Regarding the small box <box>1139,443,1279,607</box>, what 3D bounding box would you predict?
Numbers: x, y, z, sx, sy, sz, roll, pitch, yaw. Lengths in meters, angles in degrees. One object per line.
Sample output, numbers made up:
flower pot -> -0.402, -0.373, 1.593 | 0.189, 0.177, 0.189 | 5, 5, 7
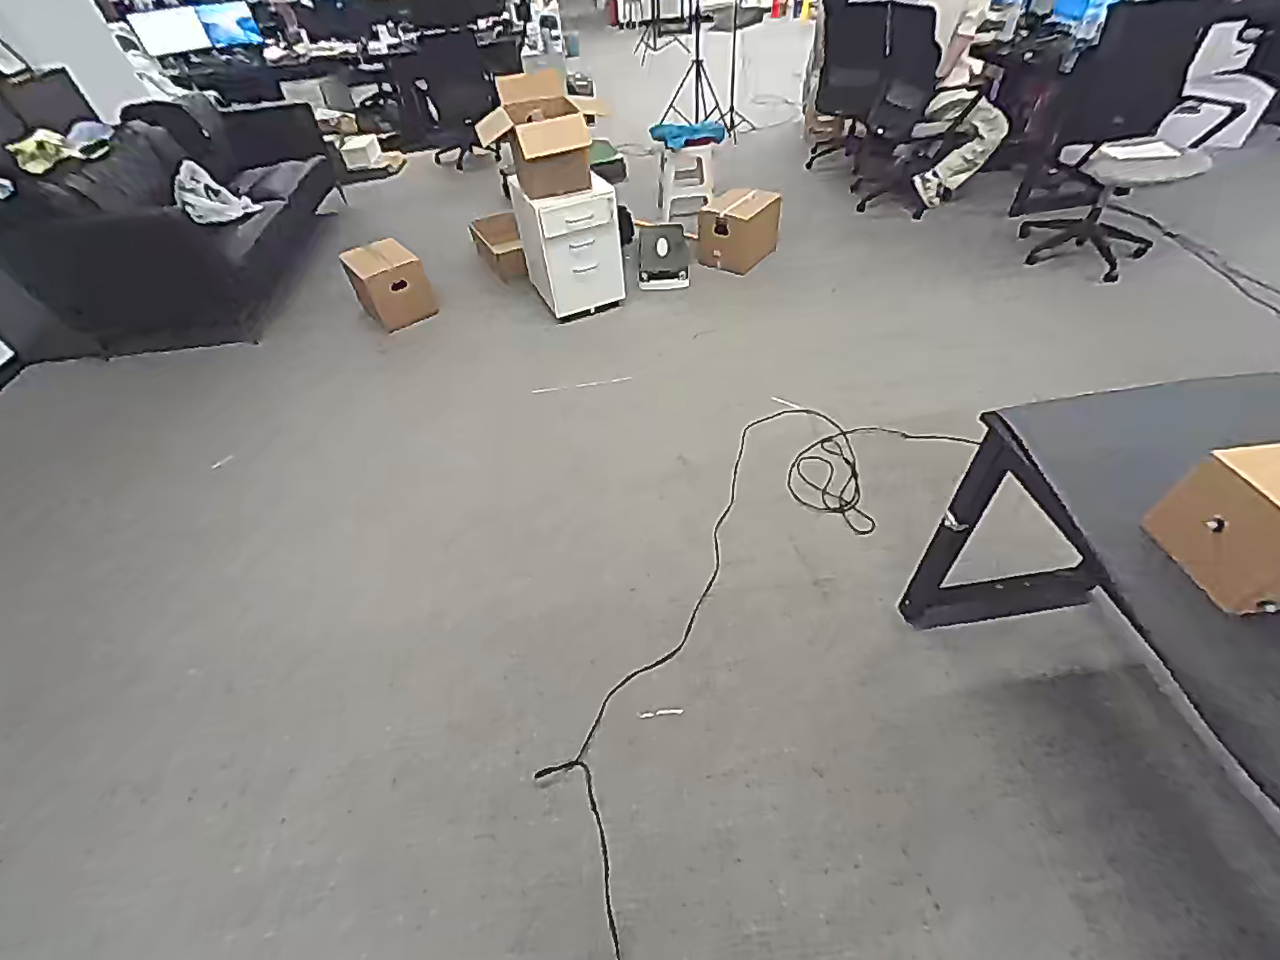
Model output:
small box -> 0.899, 0.068, 0.778 | 0.168, 0.176, 0.179 | -6, 45, -2
